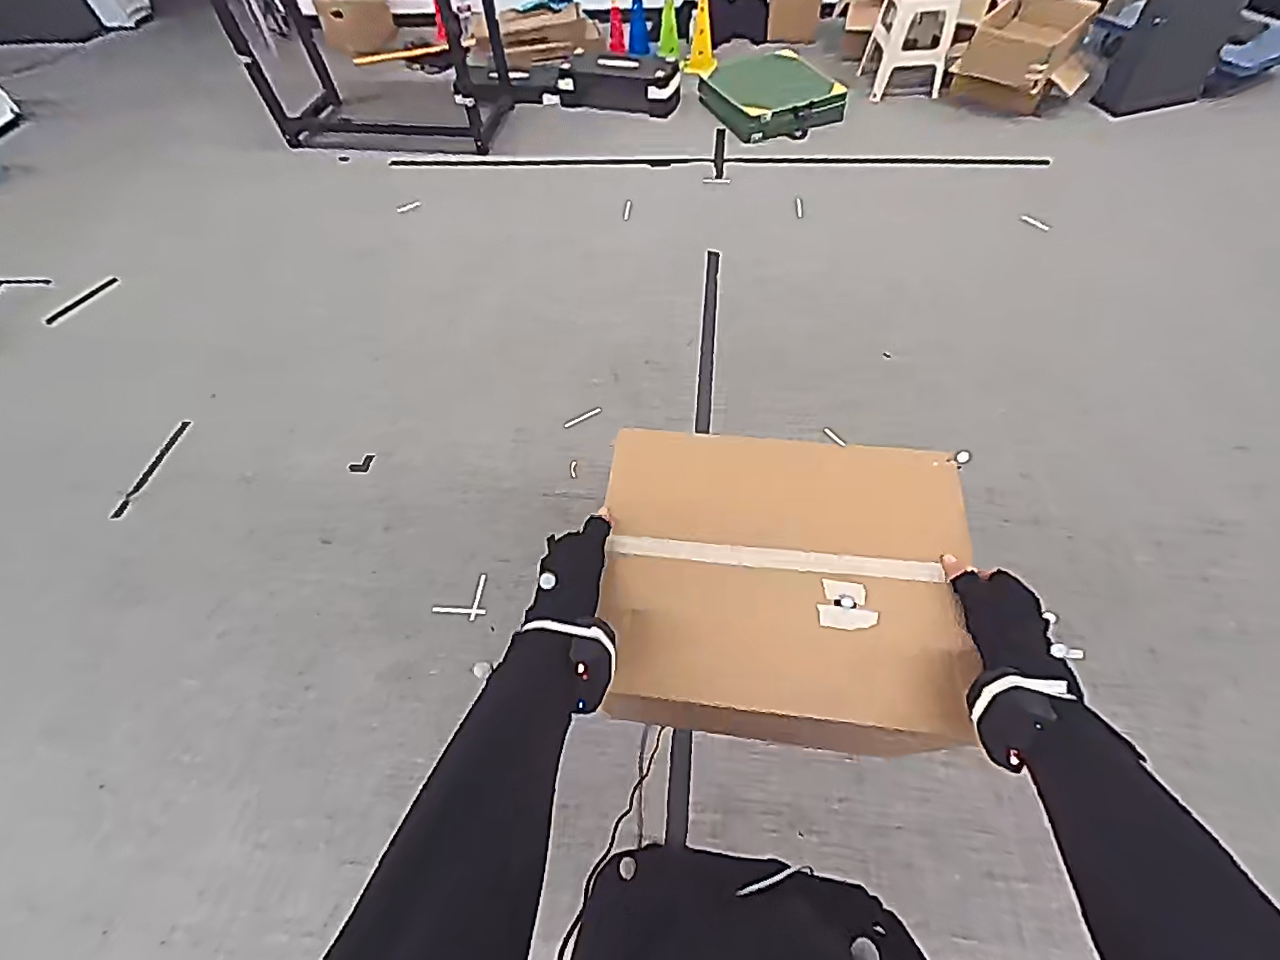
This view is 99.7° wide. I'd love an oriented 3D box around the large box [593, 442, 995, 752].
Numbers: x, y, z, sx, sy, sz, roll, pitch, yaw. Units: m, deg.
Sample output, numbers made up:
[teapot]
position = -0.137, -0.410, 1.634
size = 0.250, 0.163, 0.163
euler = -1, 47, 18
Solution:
[large box]
position = 0.169, 0.170, 0.737
size = 0.408, 0.320, 0.320
euler = 5, 62, 6
